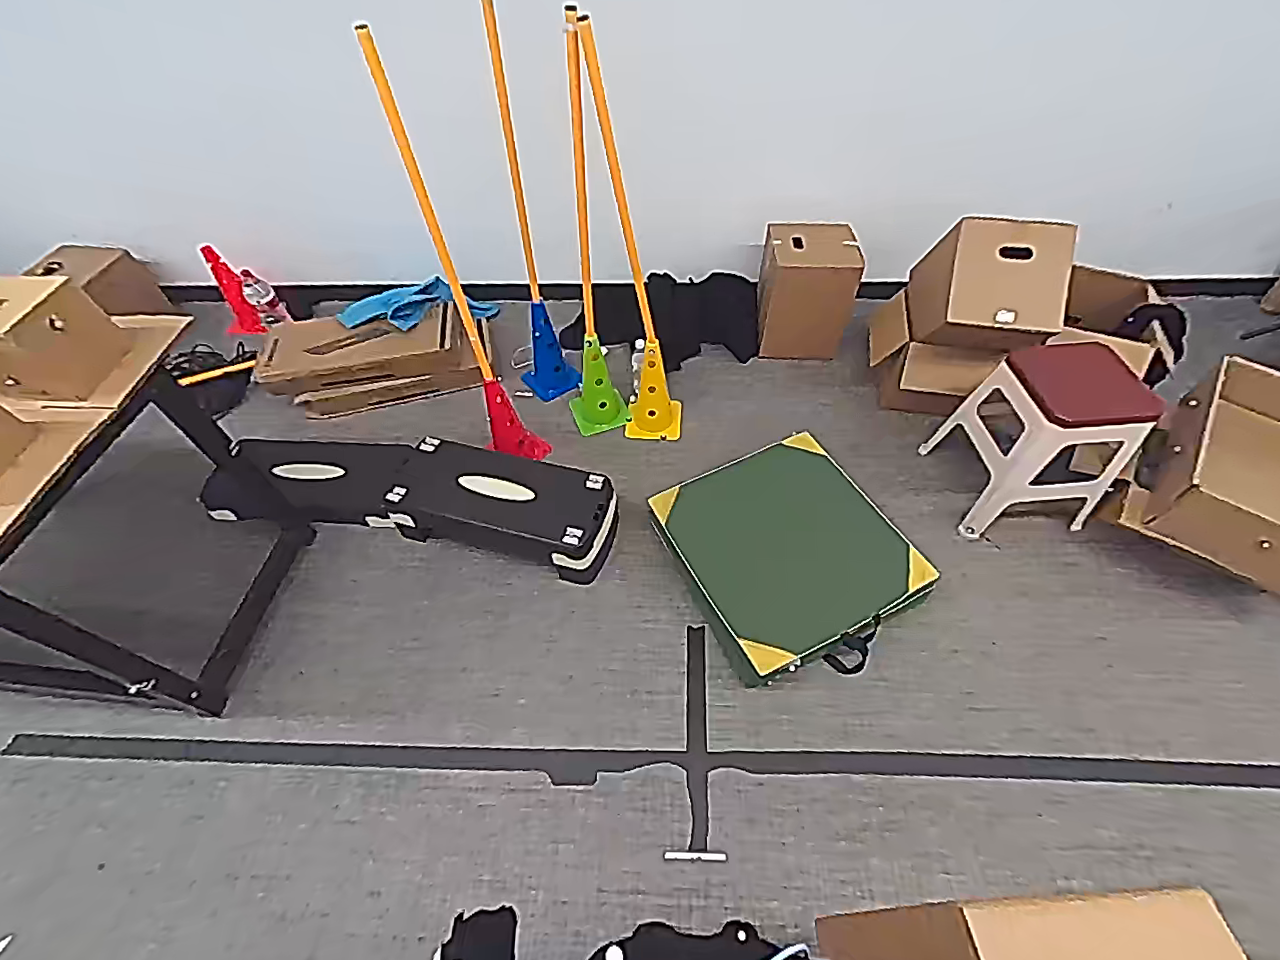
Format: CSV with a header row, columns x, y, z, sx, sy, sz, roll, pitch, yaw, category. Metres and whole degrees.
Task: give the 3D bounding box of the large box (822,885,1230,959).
x,y,z,sx,sy,sz,roll,pitch,yaw,category
0.477,0.708,0.652,0.320,0.408,0.320,2,50,-7,large box
